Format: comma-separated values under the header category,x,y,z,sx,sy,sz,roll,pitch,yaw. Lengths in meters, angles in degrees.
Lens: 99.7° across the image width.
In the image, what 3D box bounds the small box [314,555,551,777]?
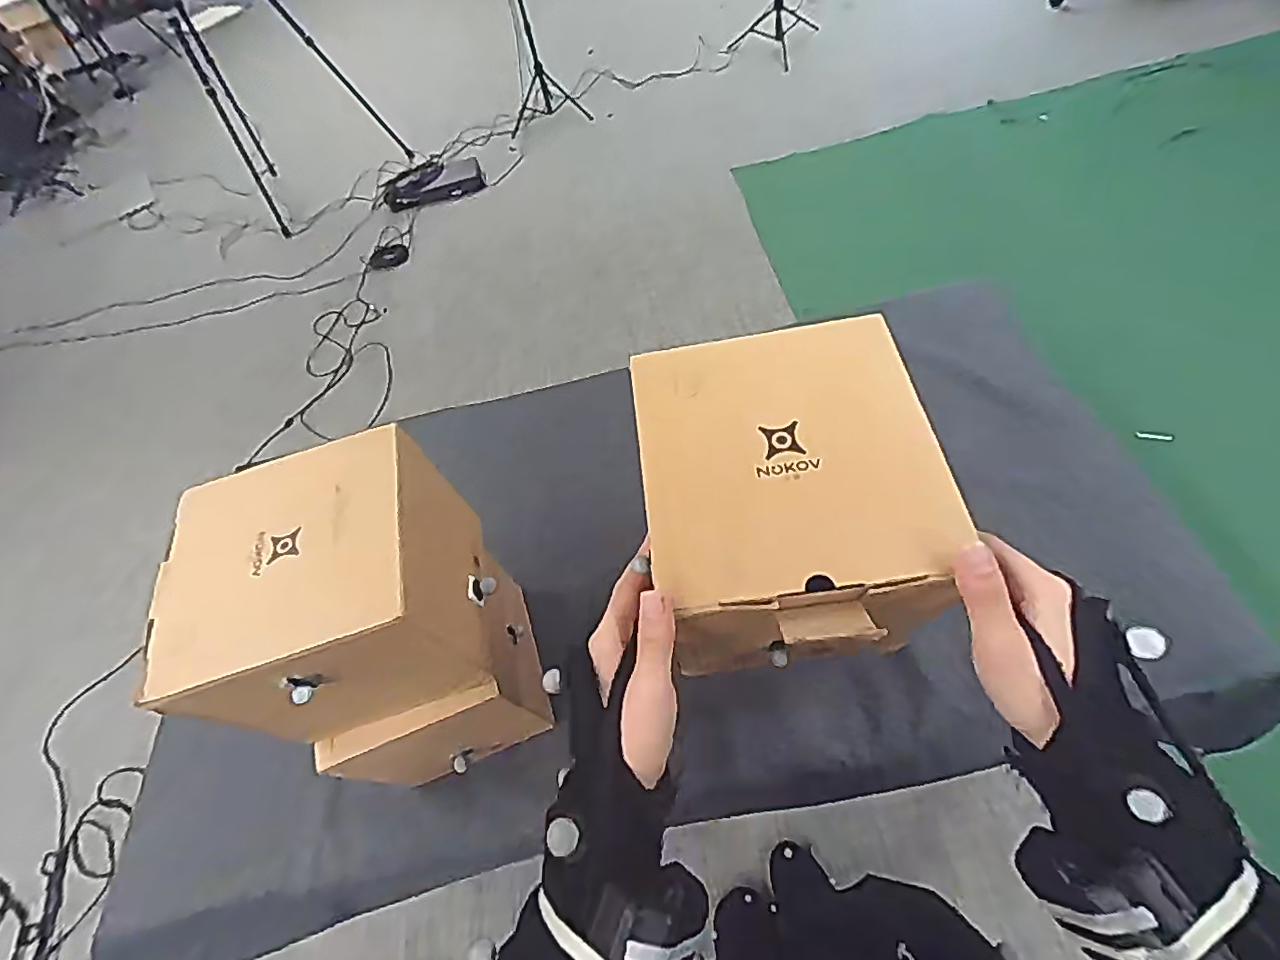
category,x,y,z,sx,sy,sz,roll,pitch,yaw
small box,-0.209,0.187,0.567,0.168,0.176,0.179,-22,57,-3

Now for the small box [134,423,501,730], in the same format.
category,x,y,z,sx,sy,sz,roll,pitch,yaw
small box,-0.233,0.087,0.440,0.179,0.176,0.168,-17,57,-1

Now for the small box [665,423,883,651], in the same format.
category,x,y,z,sx,sy,sz,roll,pitch,yaw
small box,0.132,0.072,0.578,0.168,0.176,0.179,-13,57,2
